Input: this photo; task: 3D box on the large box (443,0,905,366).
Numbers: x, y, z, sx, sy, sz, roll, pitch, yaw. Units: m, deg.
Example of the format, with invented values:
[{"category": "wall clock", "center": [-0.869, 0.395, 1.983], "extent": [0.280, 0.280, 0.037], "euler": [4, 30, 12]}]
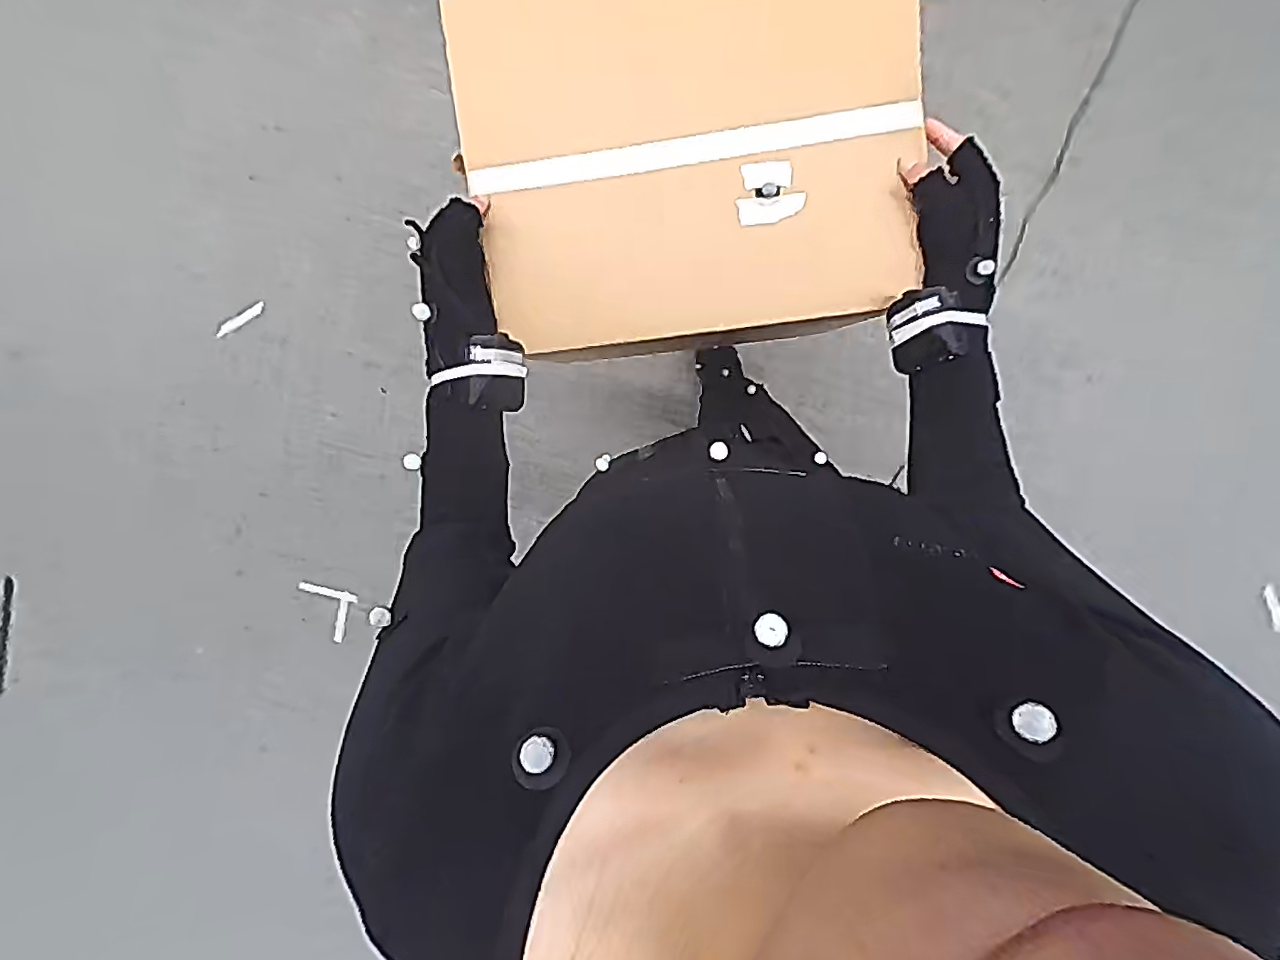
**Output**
[{"category": "large box", "center": [0.041, -0.327, 0.652], "extent": [0.408, 0.320, 0.320], "euler": [-8, 101, 4]}]
